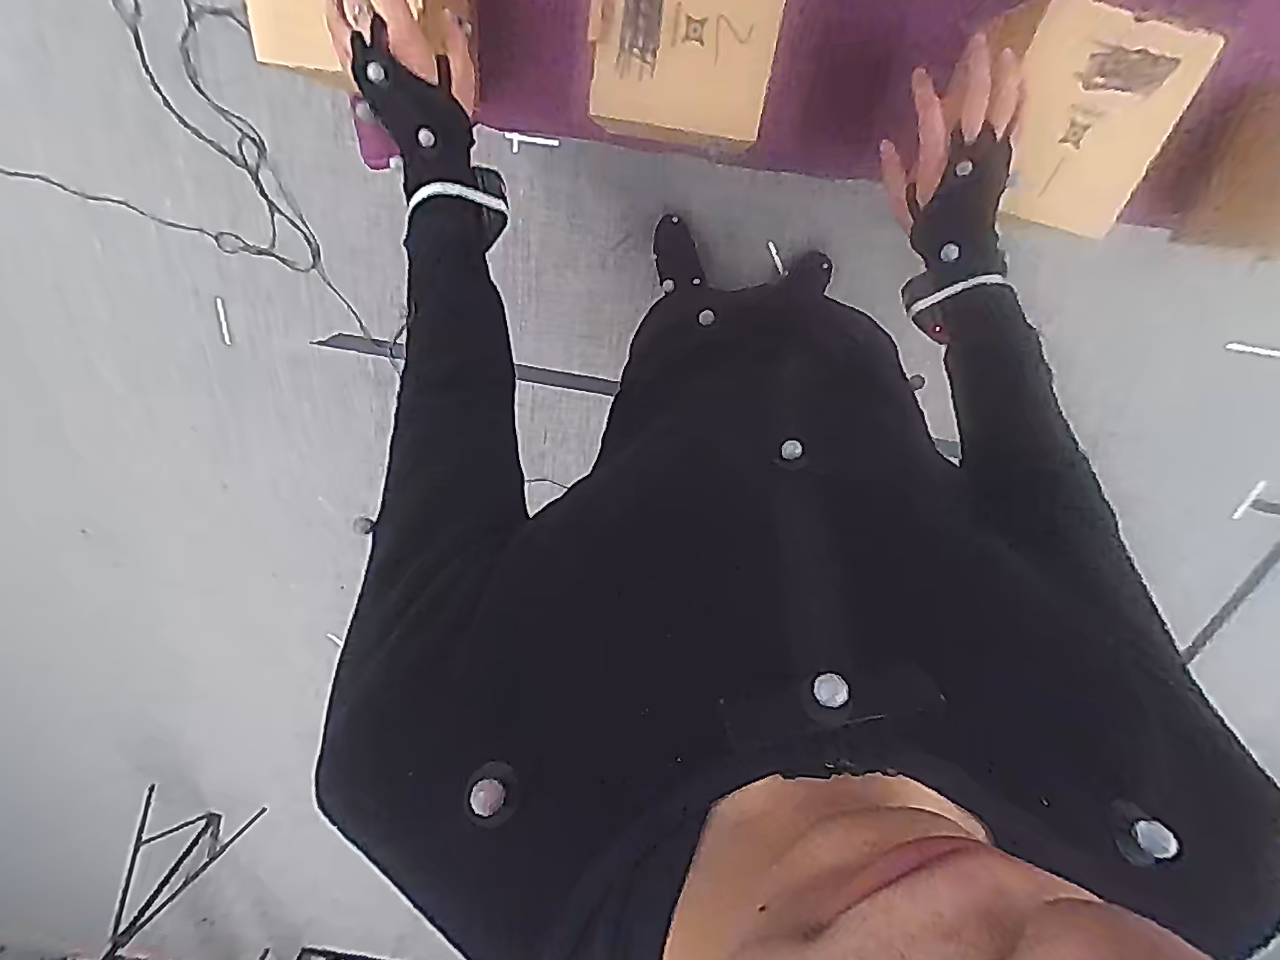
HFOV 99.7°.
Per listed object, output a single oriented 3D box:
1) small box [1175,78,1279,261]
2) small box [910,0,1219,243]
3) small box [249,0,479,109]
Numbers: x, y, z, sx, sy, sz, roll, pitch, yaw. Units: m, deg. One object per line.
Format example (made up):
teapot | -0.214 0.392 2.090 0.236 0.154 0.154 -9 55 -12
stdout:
small box | 0.759 -0.333 0.585 0.168 0.176 0.179 9 118 2
small box | 0.430 -0.381 0.592 0.168 0.176 0.179 15 120 -2
small box | -0.289 -0.519 0.586 0.179 0.176 0.168 7 118 0
